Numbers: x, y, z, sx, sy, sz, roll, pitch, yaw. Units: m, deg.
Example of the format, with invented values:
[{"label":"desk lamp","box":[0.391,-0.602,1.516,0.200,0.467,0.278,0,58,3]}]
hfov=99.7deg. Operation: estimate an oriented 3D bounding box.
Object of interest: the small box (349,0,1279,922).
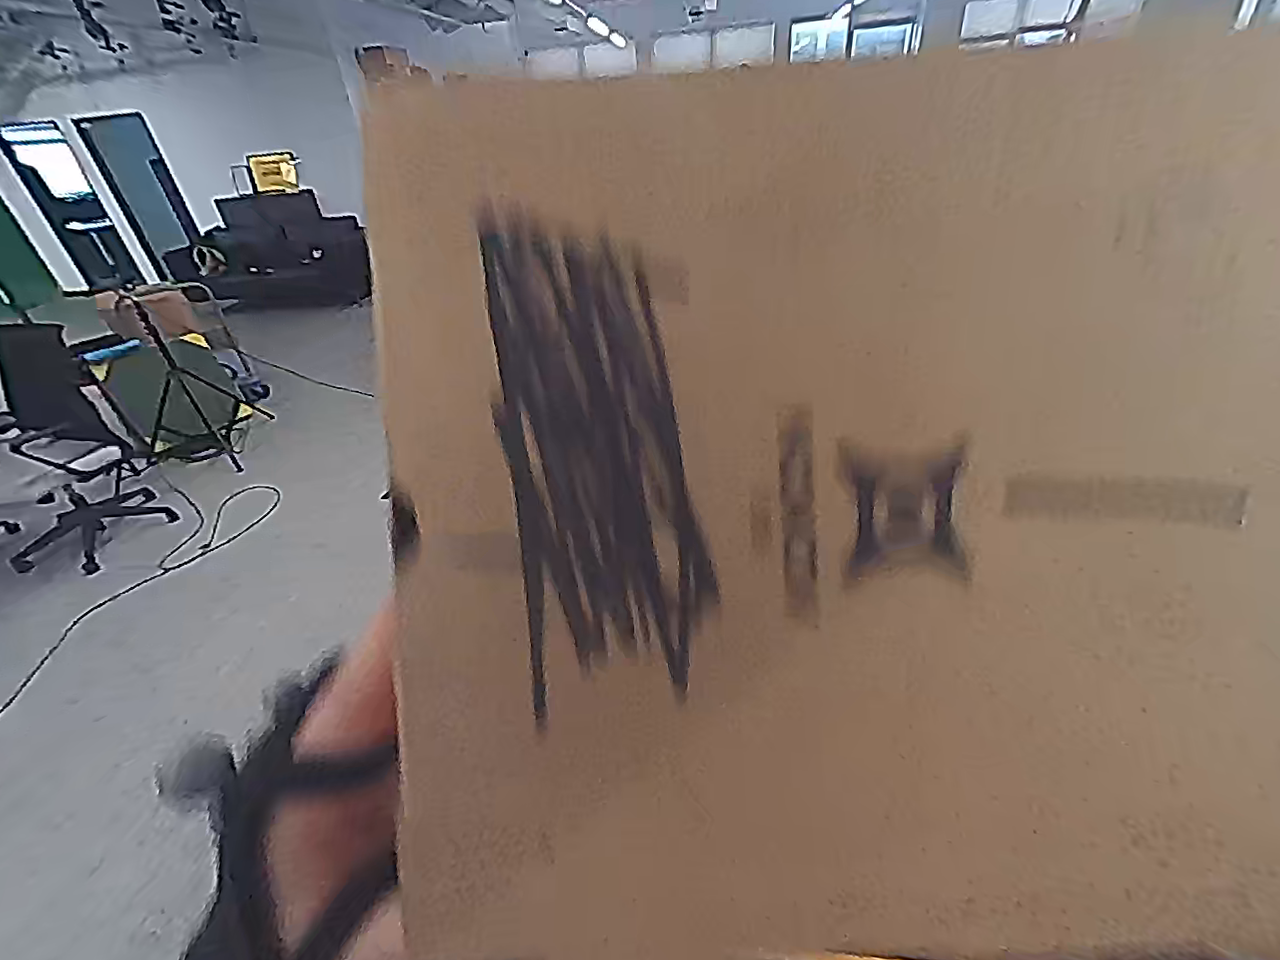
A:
[{"label":"small box","box":[0.042,-0.010,0.173,0.179,0.168,0.176,-2,2,3]}]
